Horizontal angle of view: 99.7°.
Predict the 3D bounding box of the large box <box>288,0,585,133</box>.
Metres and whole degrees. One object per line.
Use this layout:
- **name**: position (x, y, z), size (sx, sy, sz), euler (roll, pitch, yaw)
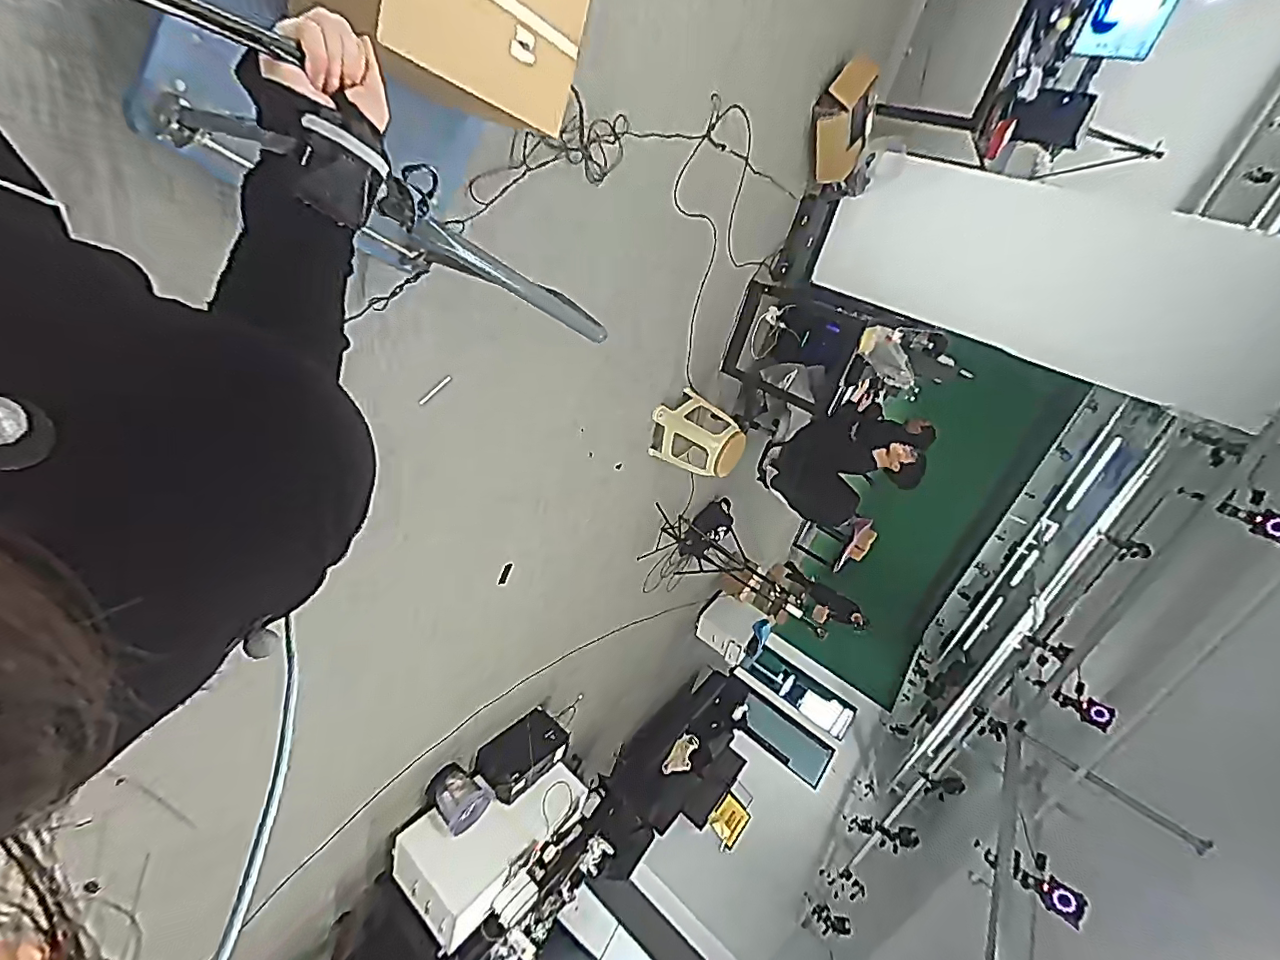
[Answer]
- **large box**: position (-0.364, -0.906, 1.000), size (0.408, 0.320, 0.320), euler (-14, 130, -54)
